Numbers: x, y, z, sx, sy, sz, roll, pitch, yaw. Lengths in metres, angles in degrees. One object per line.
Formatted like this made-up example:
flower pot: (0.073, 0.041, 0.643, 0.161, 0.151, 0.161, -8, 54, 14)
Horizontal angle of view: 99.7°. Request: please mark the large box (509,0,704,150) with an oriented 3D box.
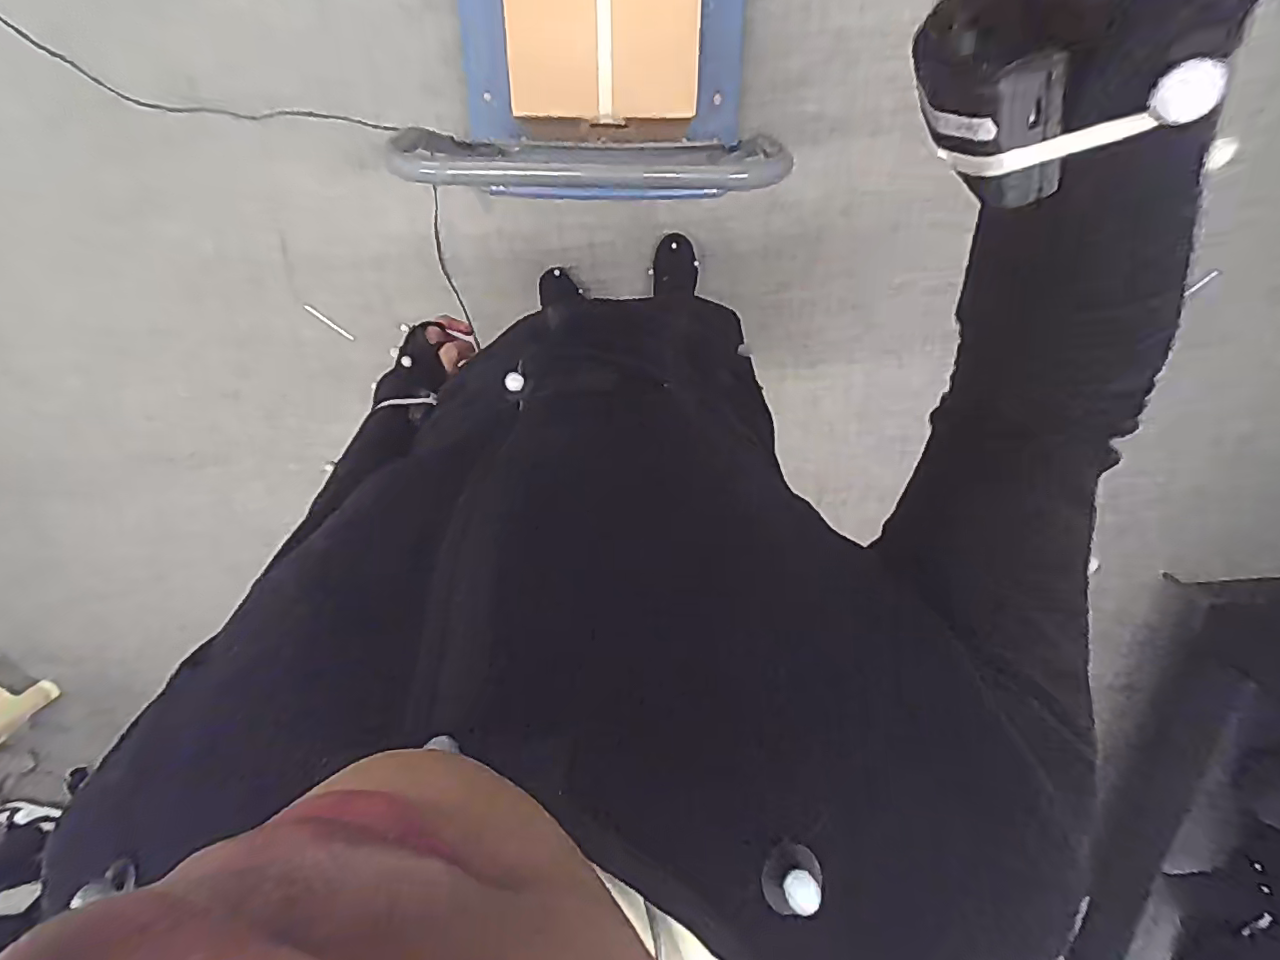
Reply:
large box: (-0.054, -0.851, 0.975, 0.320, 0.320, 0.408, 0, 114, -1)
